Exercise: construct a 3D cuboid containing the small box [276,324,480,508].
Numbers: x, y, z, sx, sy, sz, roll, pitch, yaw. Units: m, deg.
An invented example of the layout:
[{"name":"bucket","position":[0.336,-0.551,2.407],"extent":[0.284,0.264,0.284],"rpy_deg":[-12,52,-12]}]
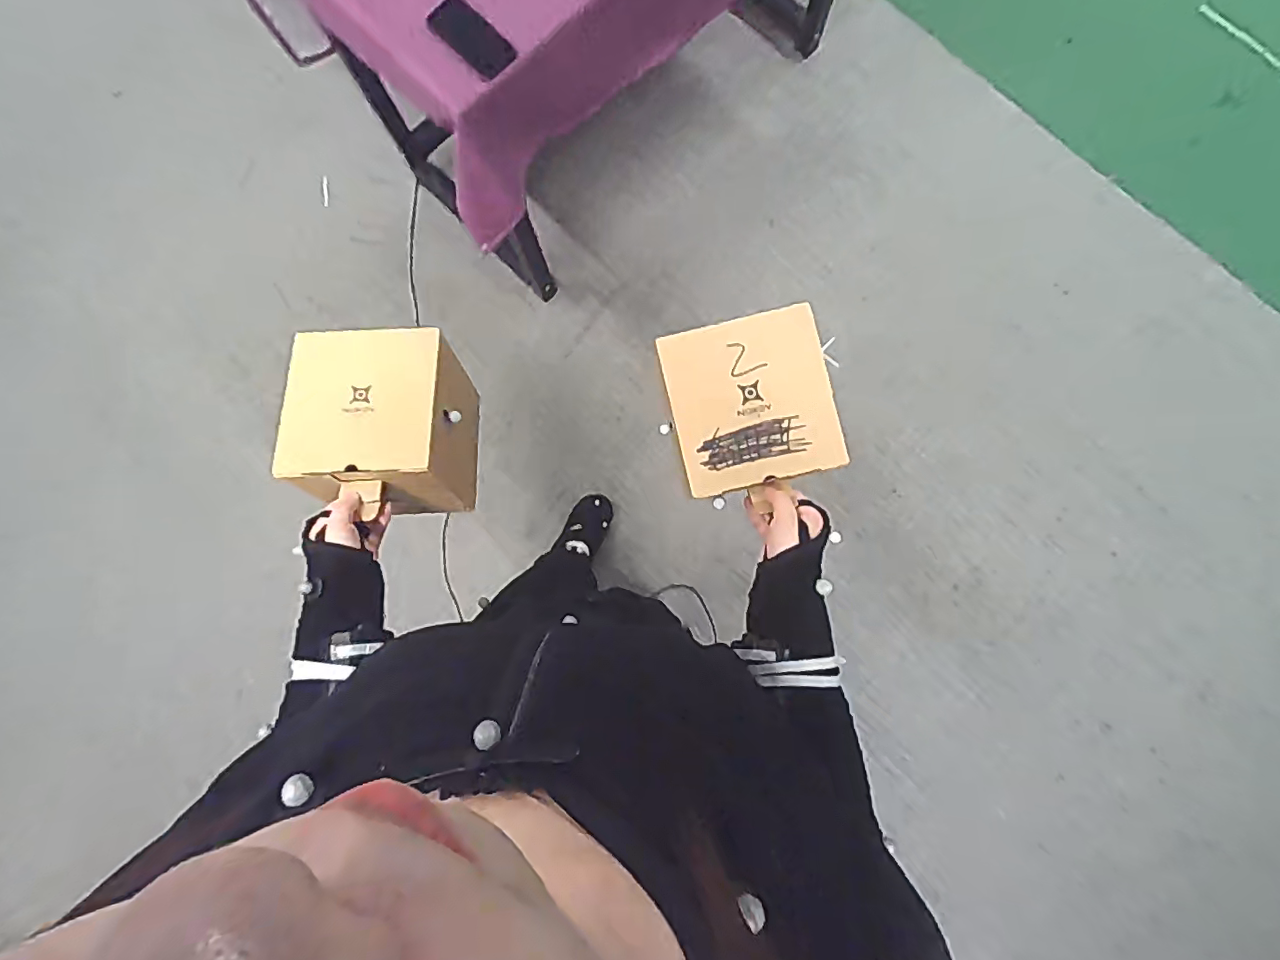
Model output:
[{"name":"small box","position":[-0.303,-0.071,0.668],"extent":[0.168,0.176,0.179],"rpy_deg":[-1,73,-2]}]
